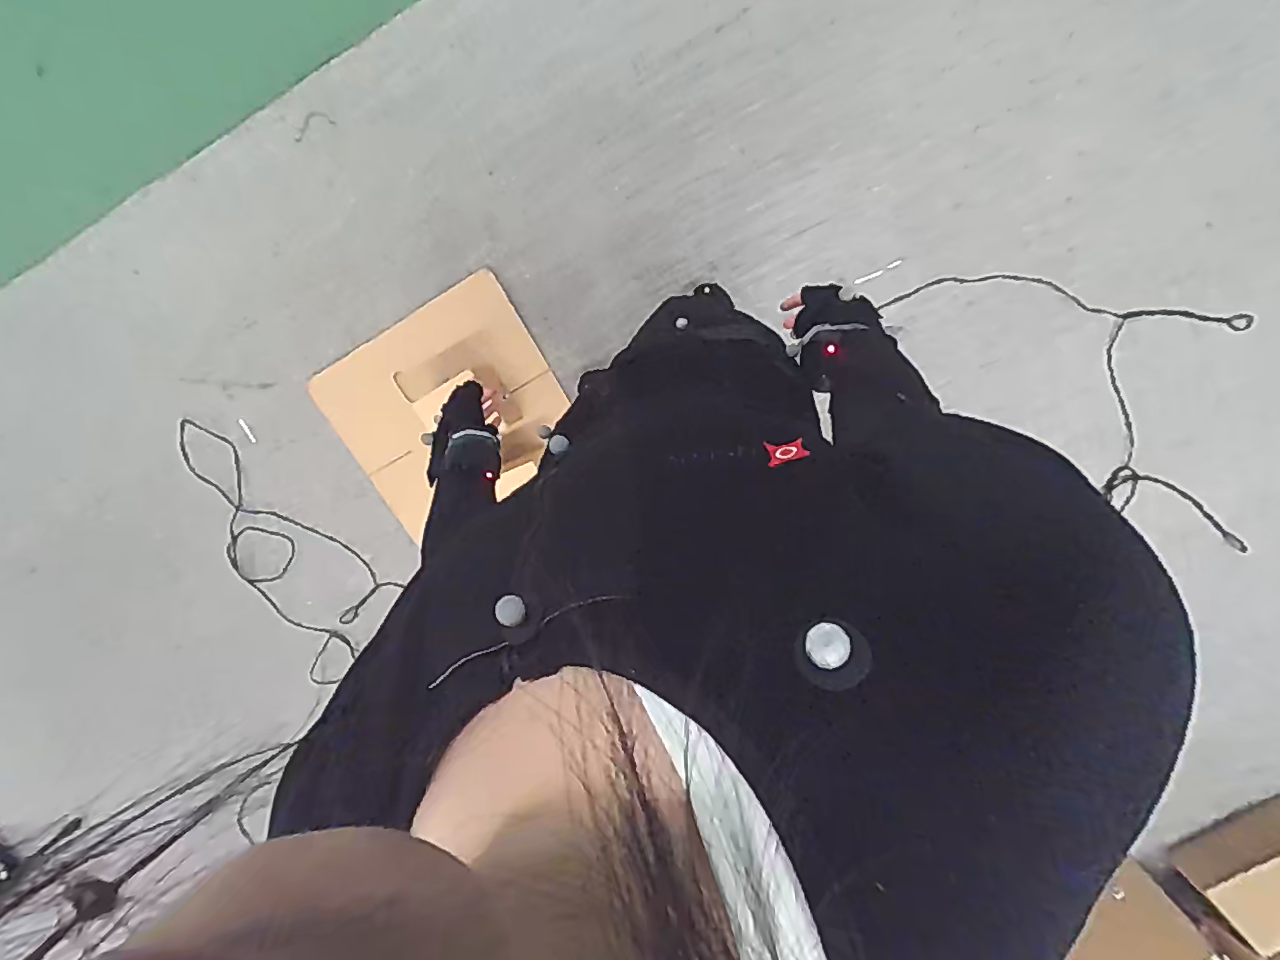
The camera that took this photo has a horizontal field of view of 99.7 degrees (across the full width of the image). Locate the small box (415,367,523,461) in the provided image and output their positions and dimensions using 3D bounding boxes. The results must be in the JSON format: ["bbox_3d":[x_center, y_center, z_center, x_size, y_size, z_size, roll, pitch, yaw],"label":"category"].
[{"bbox_3d":[-0.425,-0.172,1.378,0.179,0.176,0.168,-30,102,9],"label":"small box"}]
